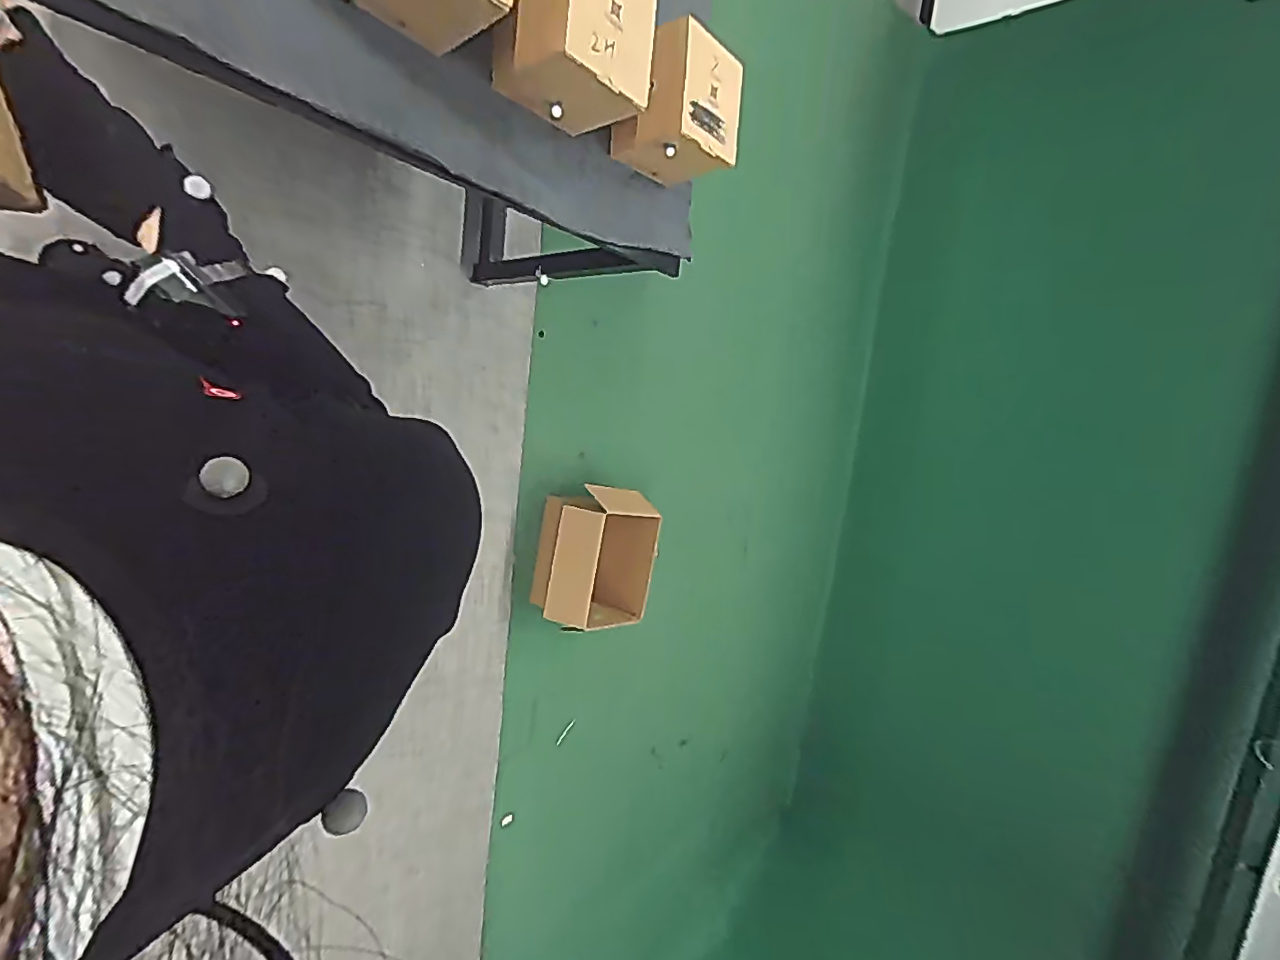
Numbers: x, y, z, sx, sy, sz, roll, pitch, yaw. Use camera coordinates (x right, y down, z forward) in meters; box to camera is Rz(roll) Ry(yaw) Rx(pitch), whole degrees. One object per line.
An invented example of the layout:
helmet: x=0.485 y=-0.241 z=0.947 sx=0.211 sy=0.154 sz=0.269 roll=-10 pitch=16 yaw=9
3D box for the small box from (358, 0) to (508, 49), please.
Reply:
small box: x=-0.257 y=-0.645 z=0.613 sx=0.168 sy=0.176 sz=0.179 roll=-1 pitch=100 yaw=-50

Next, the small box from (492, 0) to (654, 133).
small box: x=-0.100 y=-0.654 z=0.797 sx=0.168 sy=0.176 sz=0.179 roll=-4 pitch=103 yaw=-49

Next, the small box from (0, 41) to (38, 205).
small box: x=-0.425 y=-0.237 z=0.245 sx=0.168 sy=0.176 sz=0.179 roll=-15 pitch=116 yaw=-38
